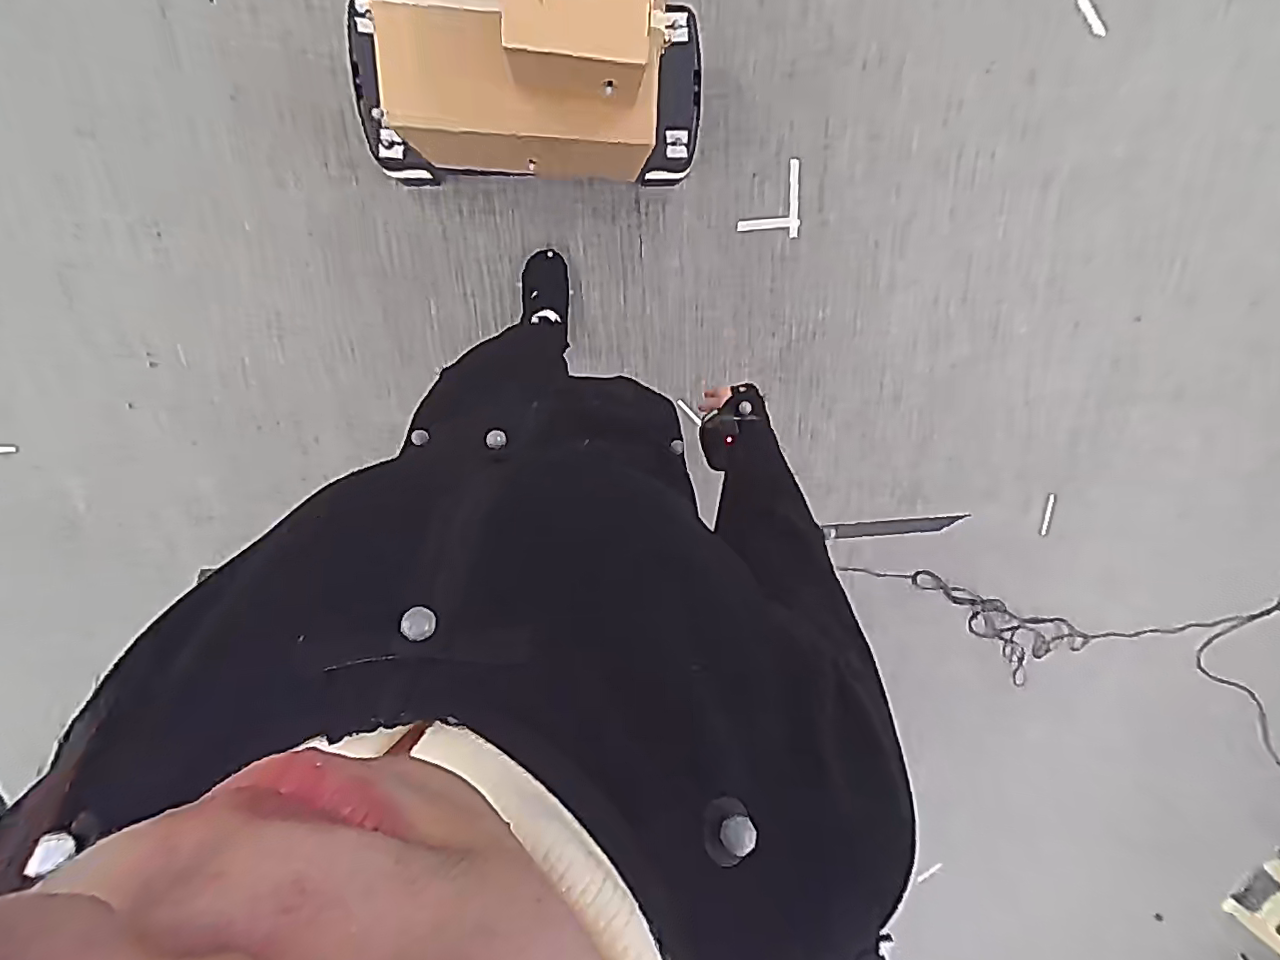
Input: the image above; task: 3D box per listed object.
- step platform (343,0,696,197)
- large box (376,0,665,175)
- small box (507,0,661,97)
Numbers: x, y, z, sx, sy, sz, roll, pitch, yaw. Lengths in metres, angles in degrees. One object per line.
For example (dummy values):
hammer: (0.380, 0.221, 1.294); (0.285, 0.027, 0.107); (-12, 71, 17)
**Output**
step platform: (-0.226, -0.783, 1.113); (0.684, 0.204, 0.286); (2, 109, -6)
large box: (-0.174, -0.707, 0.891); (0.408, 0.320, 0.320); (0, 109, -6)
small box: (-0.069, -0.606, 0.677); (0.179, 0.176, 0.168); (2, 110, -7)
